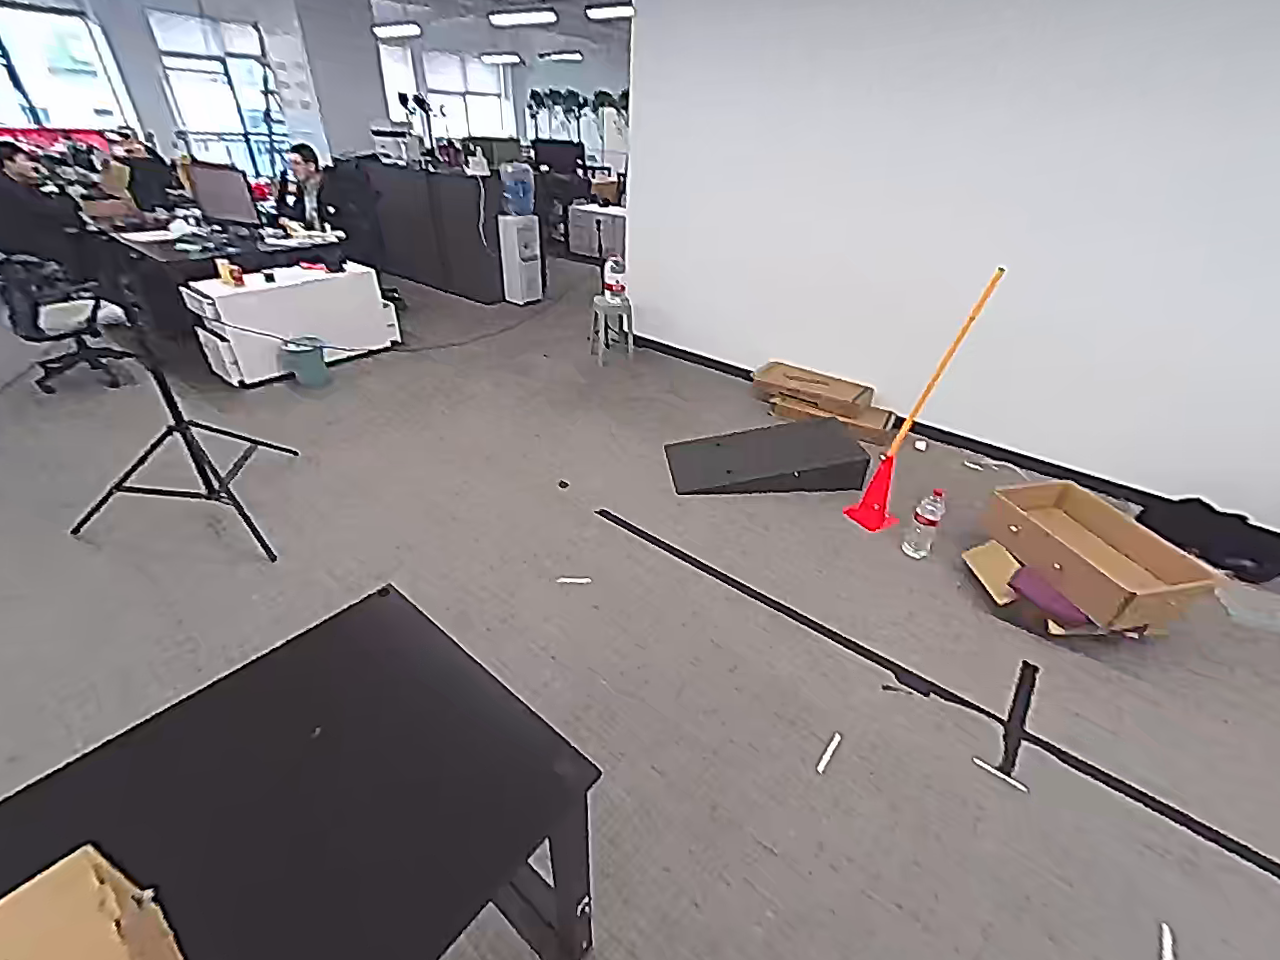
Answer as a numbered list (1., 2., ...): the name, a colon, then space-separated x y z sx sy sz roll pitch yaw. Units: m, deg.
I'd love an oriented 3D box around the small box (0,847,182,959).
1. small box: -0.570 0.517 0.518 0.168 0.176 0.179 24 40 31
